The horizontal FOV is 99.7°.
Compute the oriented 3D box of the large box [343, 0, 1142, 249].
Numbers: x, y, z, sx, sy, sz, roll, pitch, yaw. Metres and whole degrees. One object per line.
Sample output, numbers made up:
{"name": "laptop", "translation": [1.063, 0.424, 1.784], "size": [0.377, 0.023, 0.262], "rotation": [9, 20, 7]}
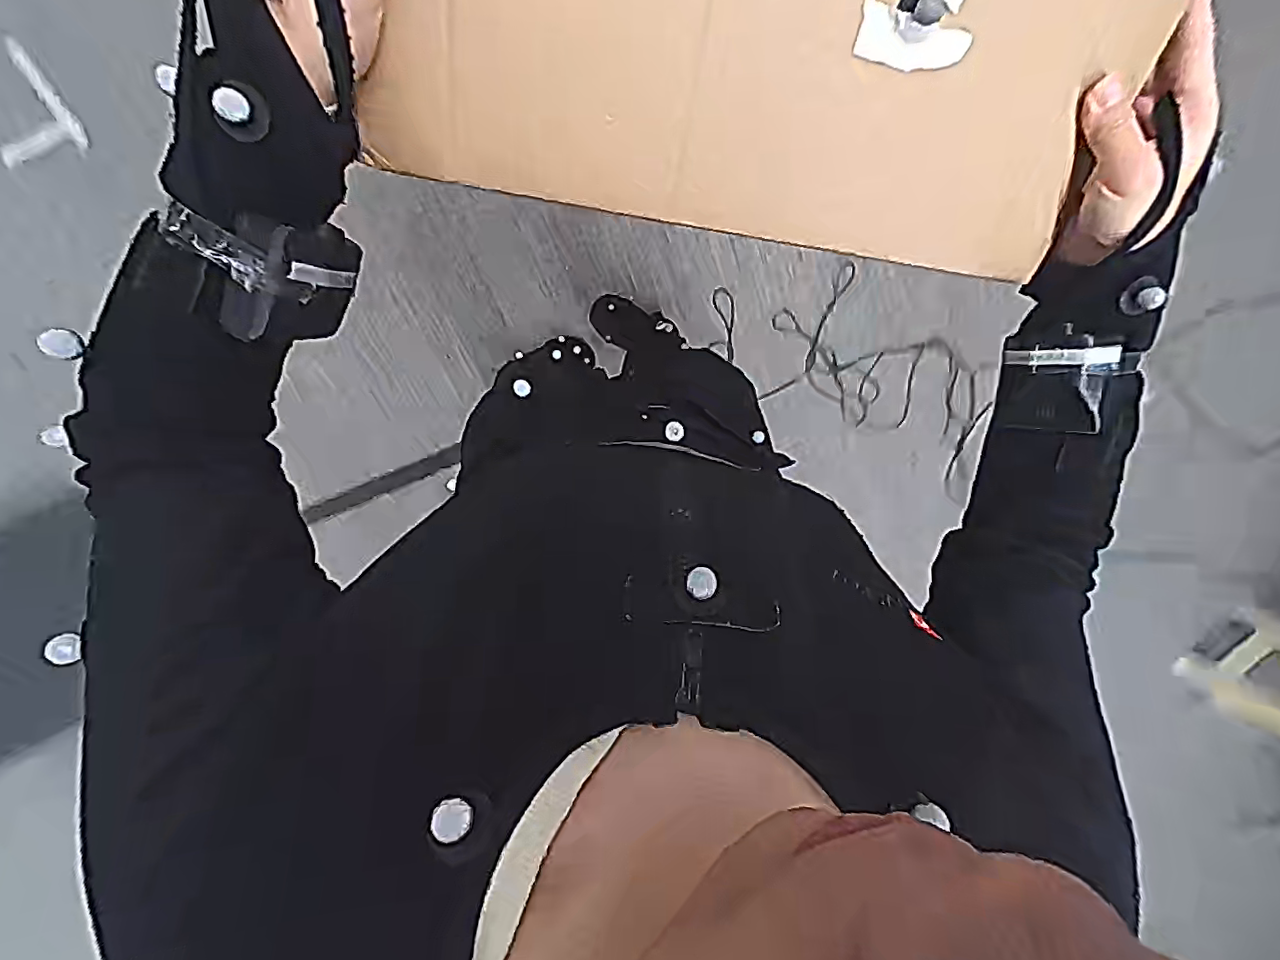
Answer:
{"name": "large box", "translation": [0.051, -0.368, 0.354], "size": [0.408, 0.320, 0.320], "rotation": [3, 126, -10]}
